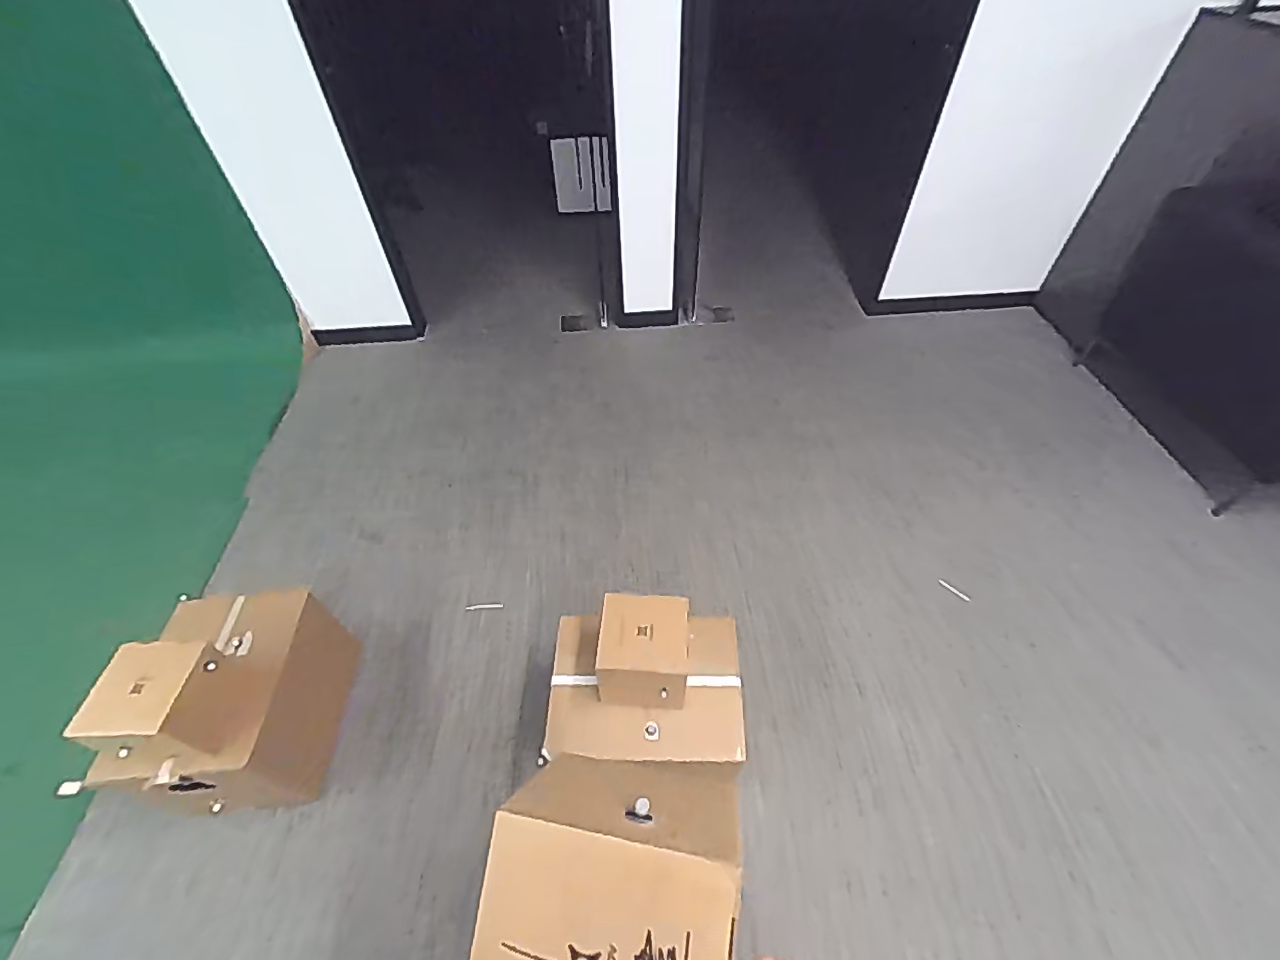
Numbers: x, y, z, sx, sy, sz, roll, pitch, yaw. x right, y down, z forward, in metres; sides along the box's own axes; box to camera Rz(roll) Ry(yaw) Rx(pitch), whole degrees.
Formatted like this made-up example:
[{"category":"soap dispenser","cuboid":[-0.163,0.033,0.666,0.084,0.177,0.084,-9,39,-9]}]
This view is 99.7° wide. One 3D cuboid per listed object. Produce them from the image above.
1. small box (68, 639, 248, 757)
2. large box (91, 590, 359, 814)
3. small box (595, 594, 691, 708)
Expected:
[{"category":"small box","cuboid":[-0.921,0.431,1.060,0.168,0.176,0.179,-1,47,-1]},{"category":"large box","cuboid":[-0.938,0.530,1.301,0.320,0.320,0.408,-4,48,-2]},{"category":"small box","cuboid":[0.010,0.354,1.111,0.179,0.176,0.168,3,46,4]}]
